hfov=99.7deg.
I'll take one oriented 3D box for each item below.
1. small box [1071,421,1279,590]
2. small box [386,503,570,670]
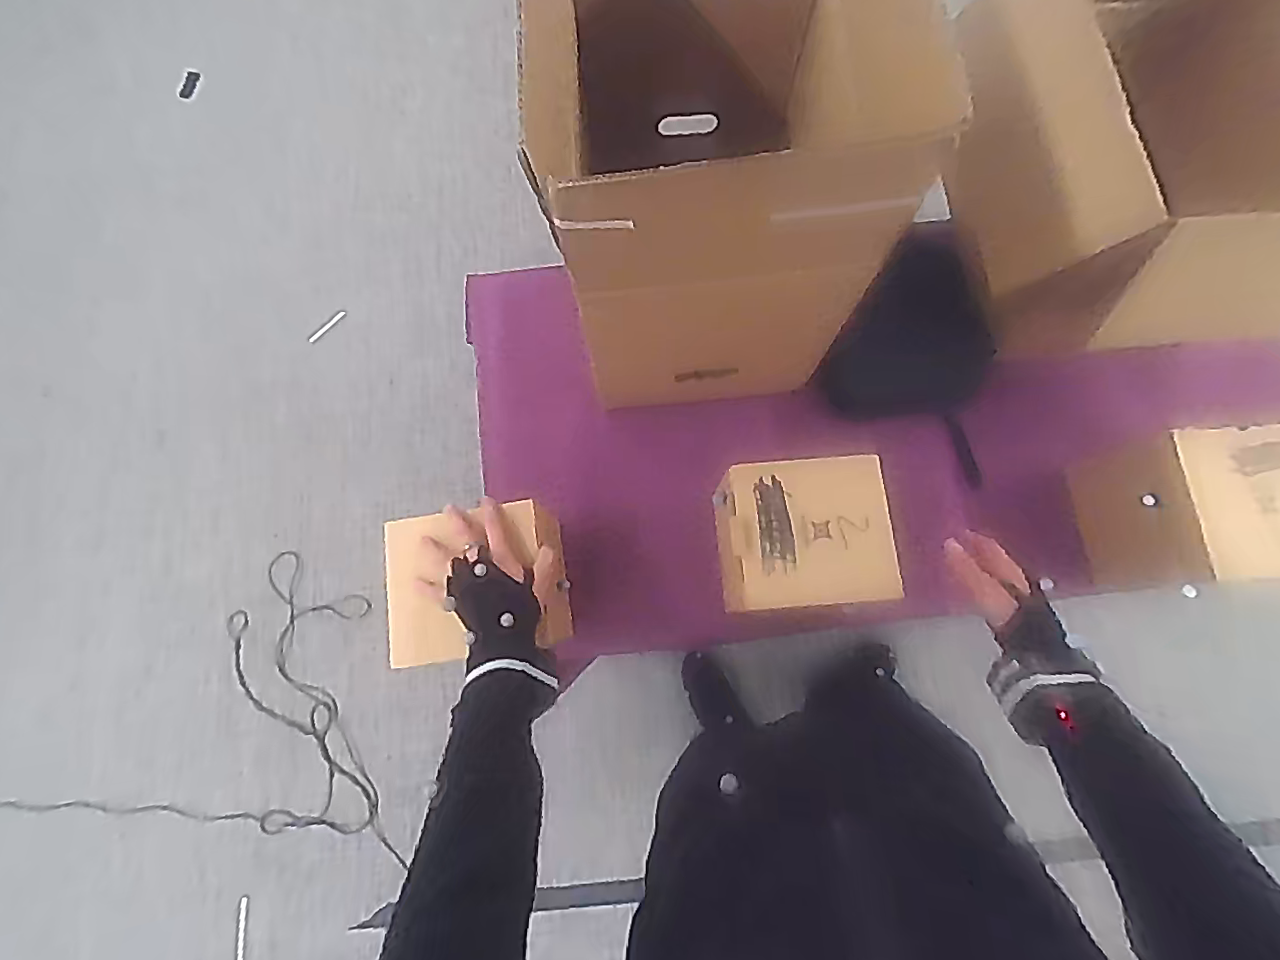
[{"bbox_3d":[0.689,0.039,0.672,0.168,0.176,0.179,-4,76,1],"label":"small box"},{"bbox_3d":[-0.193,0.137,0.679,0.179,0.176,0.168,-9,76,-2],"label":"small box"}]
